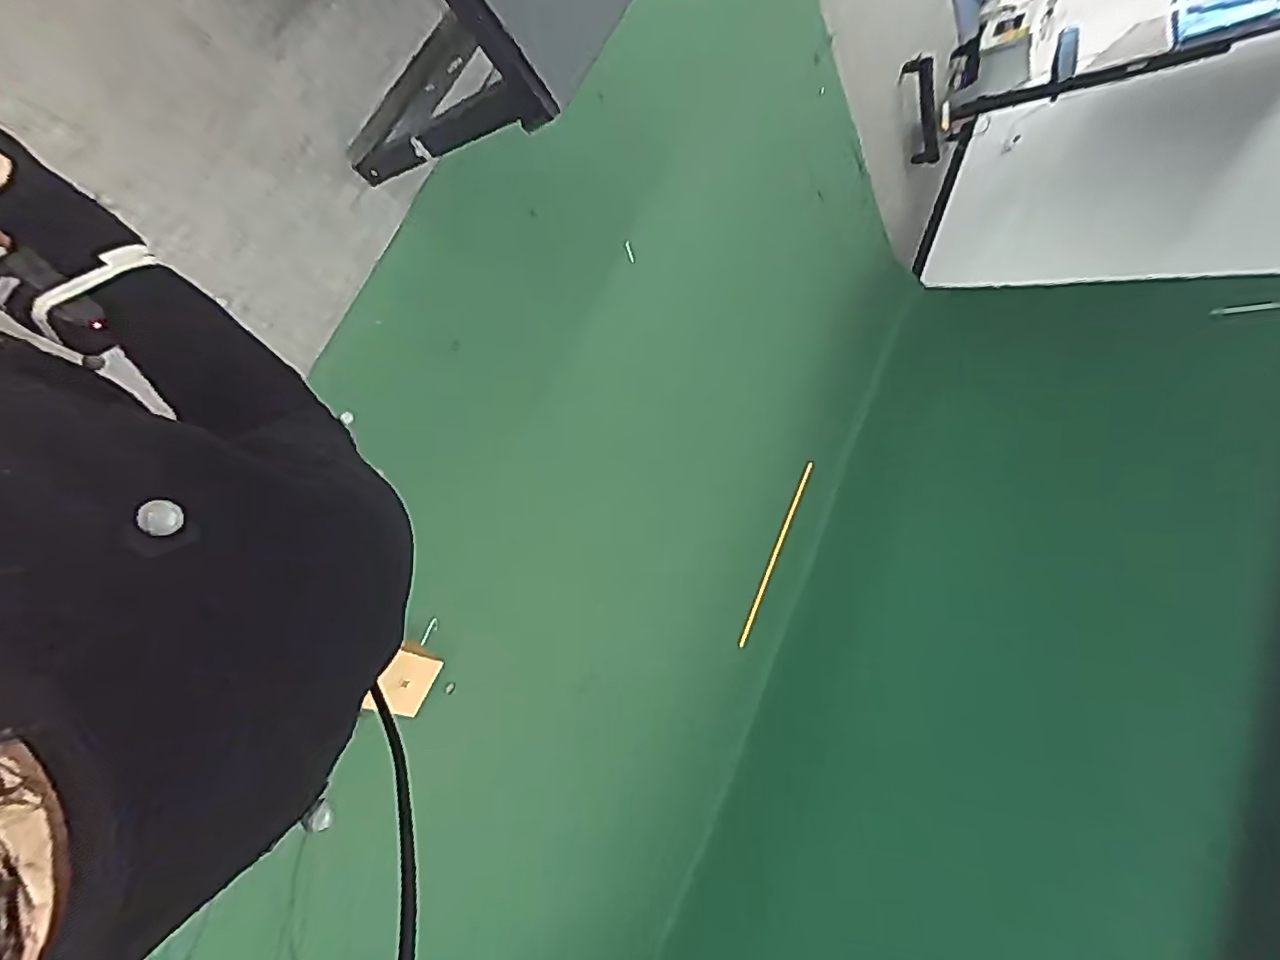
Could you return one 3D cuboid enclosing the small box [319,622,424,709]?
[{"bbox_3d":[-0.763,0.524,1.537,0.179,0.176,0.168,42,70,-46],"label":"small box"}]
